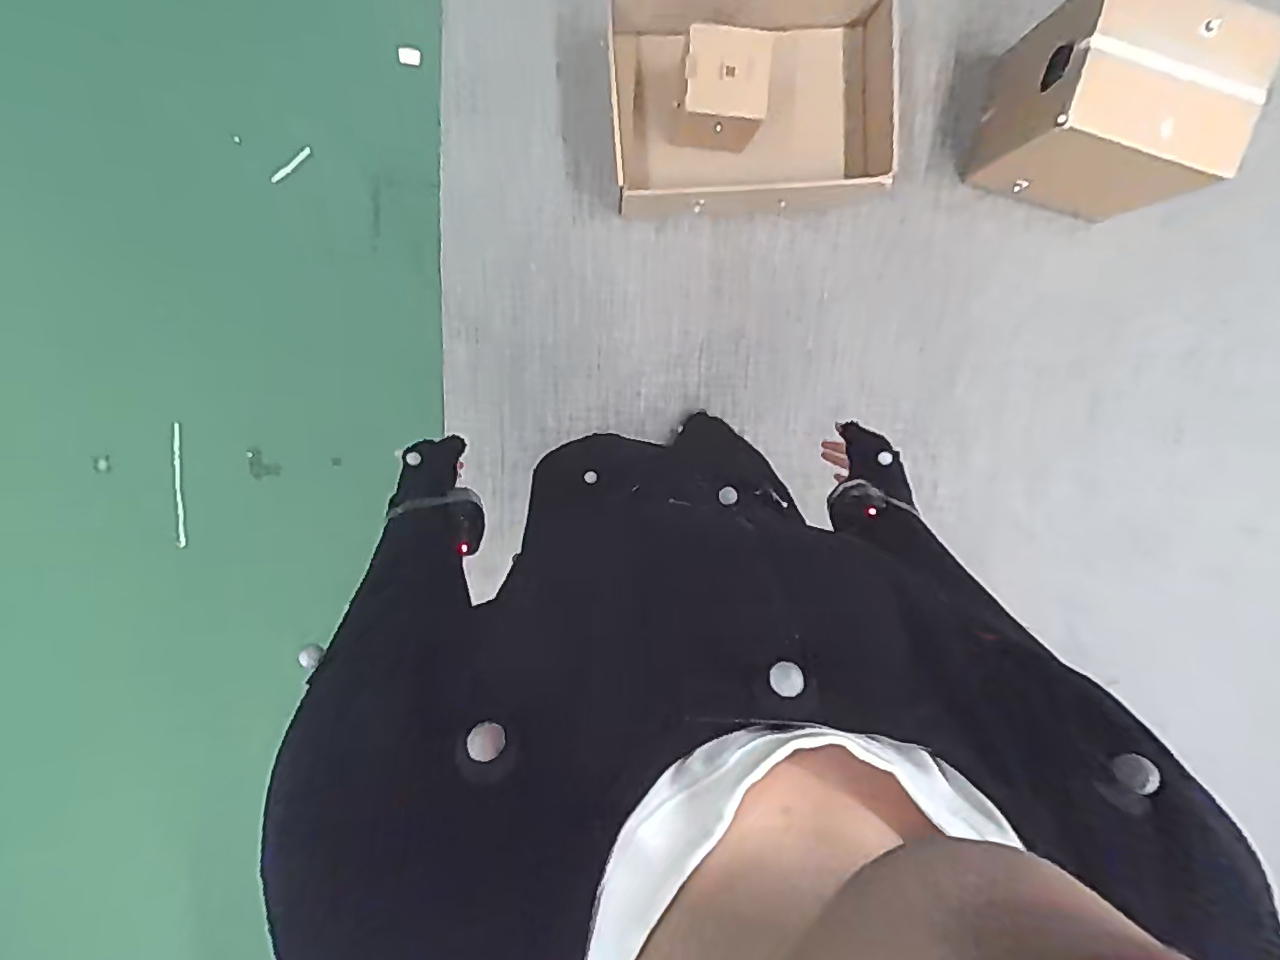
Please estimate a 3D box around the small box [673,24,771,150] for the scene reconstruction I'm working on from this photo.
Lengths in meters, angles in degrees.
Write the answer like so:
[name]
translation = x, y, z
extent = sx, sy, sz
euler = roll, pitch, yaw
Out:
[small box]
translation = 0.172, -0.858, 1.198
extent = 0.179, 0.176, 0.168
euler = 2, 100, -7
